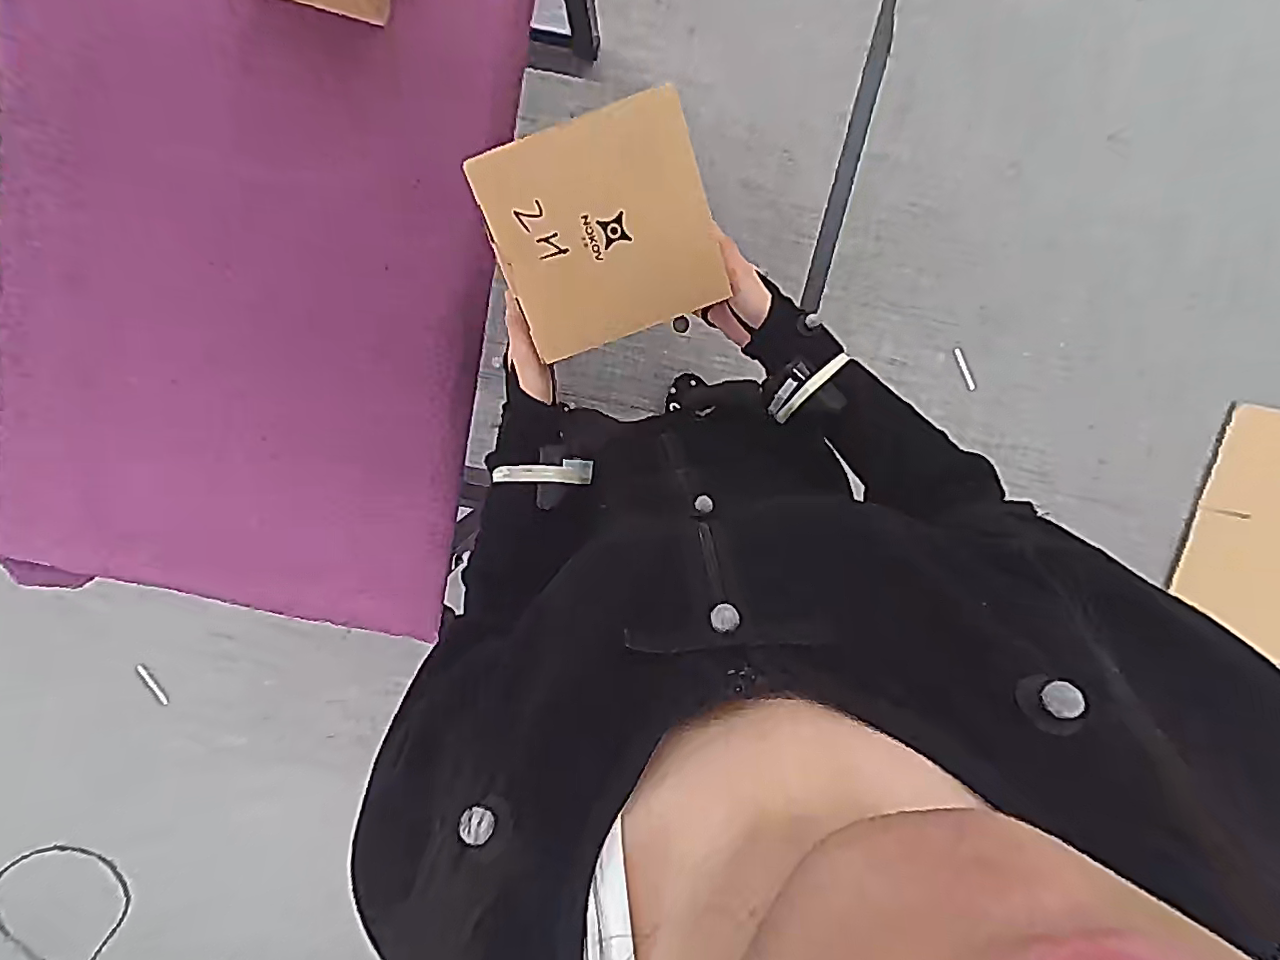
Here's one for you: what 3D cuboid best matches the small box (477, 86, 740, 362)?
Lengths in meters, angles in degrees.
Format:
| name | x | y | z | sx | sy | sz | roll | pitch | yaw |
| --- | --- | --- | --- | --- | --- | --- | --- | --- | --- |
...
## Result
| name | x | y | z | sx | sy | sz | roll | pitch | yaw |
| --- | --- | --- | --- | --- | --- | --- | --- | --- | --- |
| small box | -0.026 | -0.225 | 0.510 | 0.179 | 0.176 | 0.168 | -18 | 109 | 3 |

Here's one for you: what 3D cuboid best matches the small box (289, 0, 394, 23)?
| name | x | y | z | sx | sy | sz | roll | pitch | yaw |
| --- | --- | --- | --- | --- | --- | --- | --- | --- | --- |
| small box | -0.367 | -0.628 | 0.558 | 0.179 | 0.176 | 0.168 | 15 | 100 | -2 |
